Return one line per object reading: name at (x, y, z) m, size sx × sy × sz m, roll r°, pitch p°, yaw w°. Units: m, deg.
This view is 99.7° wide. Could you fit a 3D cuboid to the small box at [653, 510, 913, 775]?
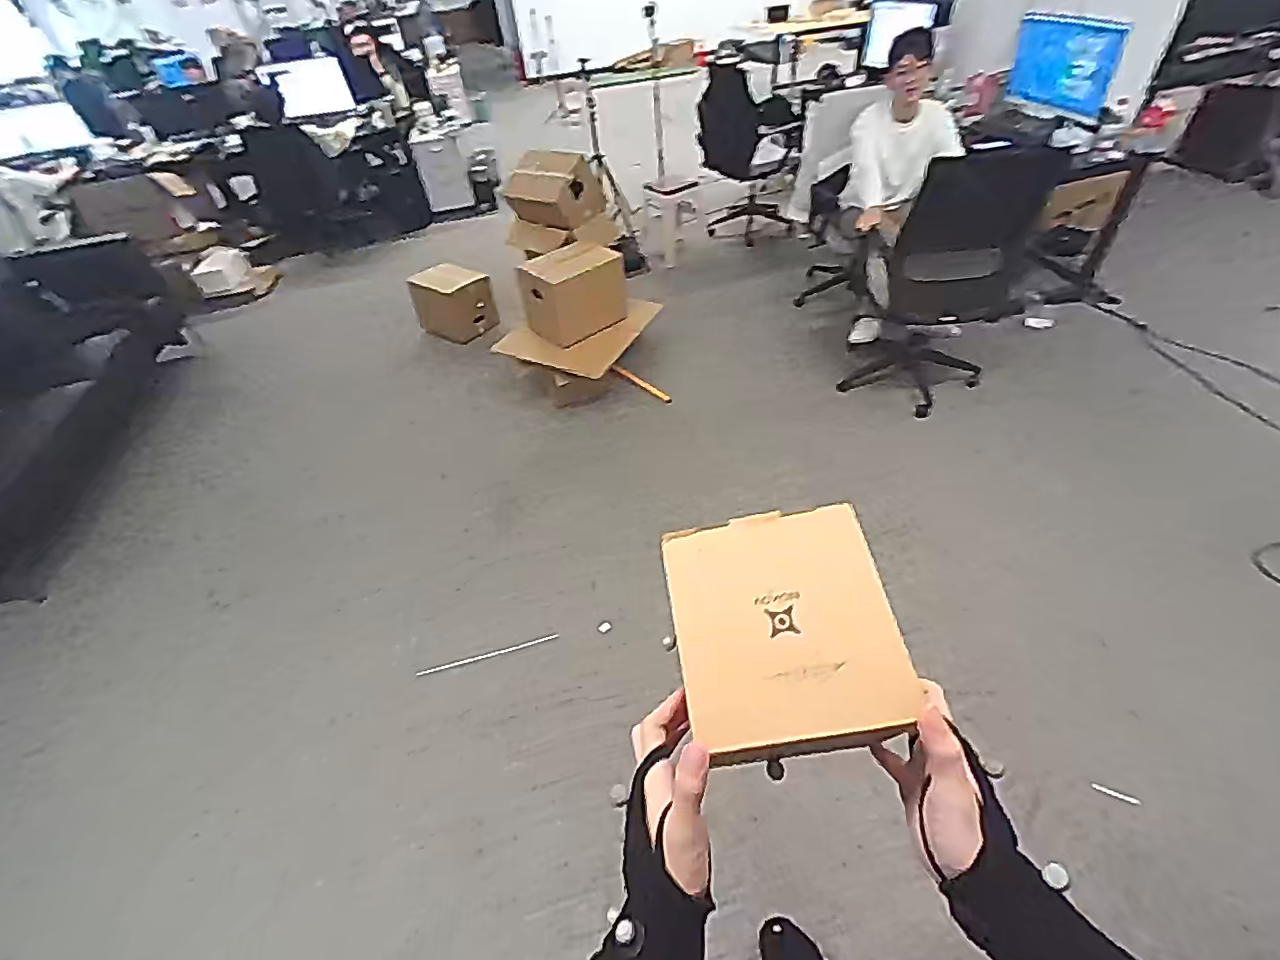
small box at (0.109, 0.153, 0.488) m, size 0.168 × 0.176 × 0.179 m, roll -11°, pitch 57°, yaw 3°
